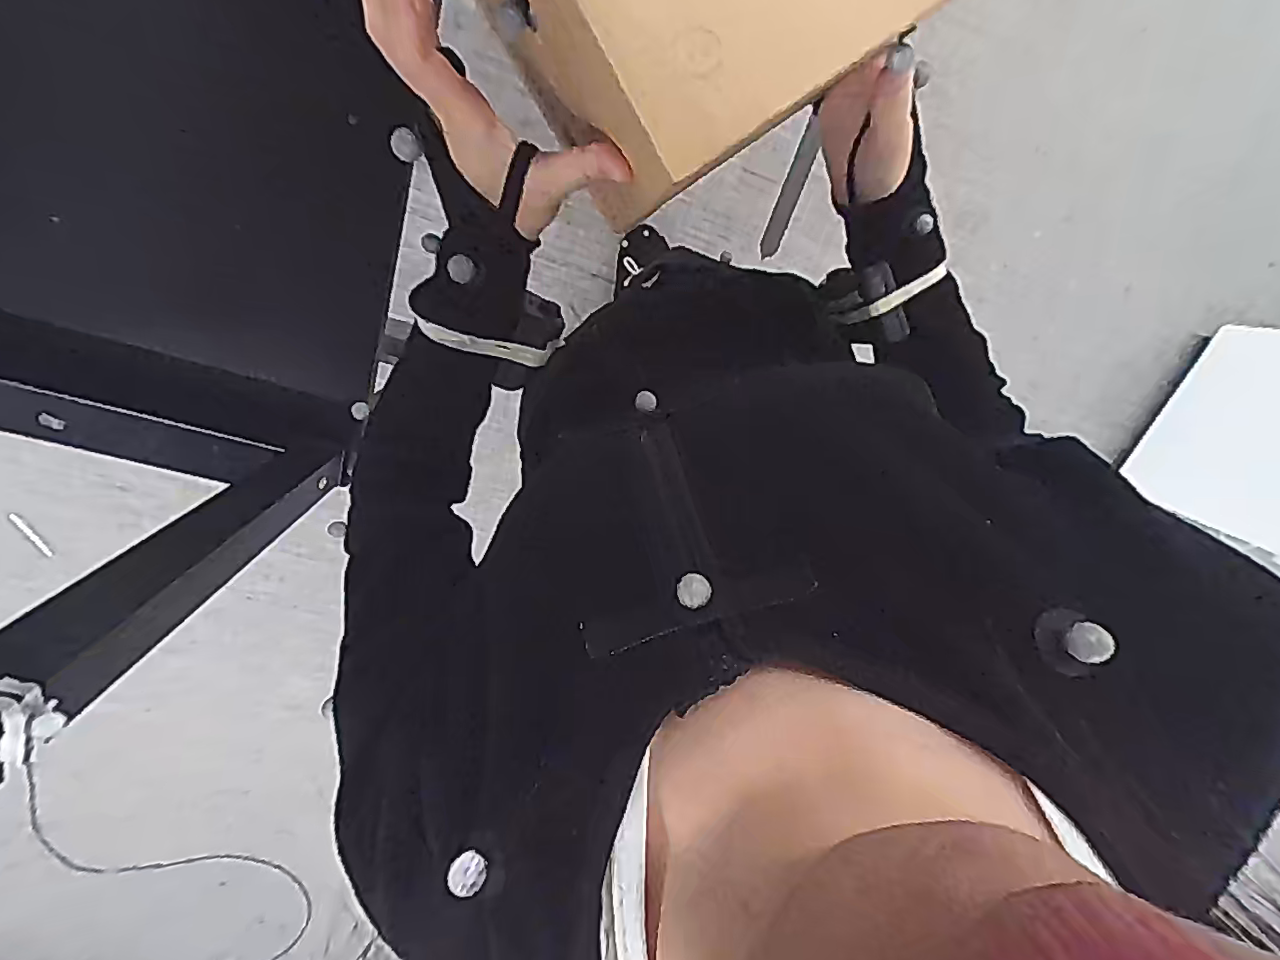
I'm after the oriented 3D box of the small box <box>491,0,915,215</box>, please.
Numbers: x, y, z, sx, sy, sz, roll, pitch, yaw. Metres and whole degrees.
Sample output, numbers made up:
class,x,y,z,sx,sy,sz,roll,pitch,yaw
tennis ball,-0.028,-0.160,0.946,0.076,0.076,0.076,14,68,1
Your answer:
class,x,y,z,sx,sy,sz,roll,pitch,yaw
small box,0.025,-0.265,0.273,0.179,0.176,0.168,-36,110,0
